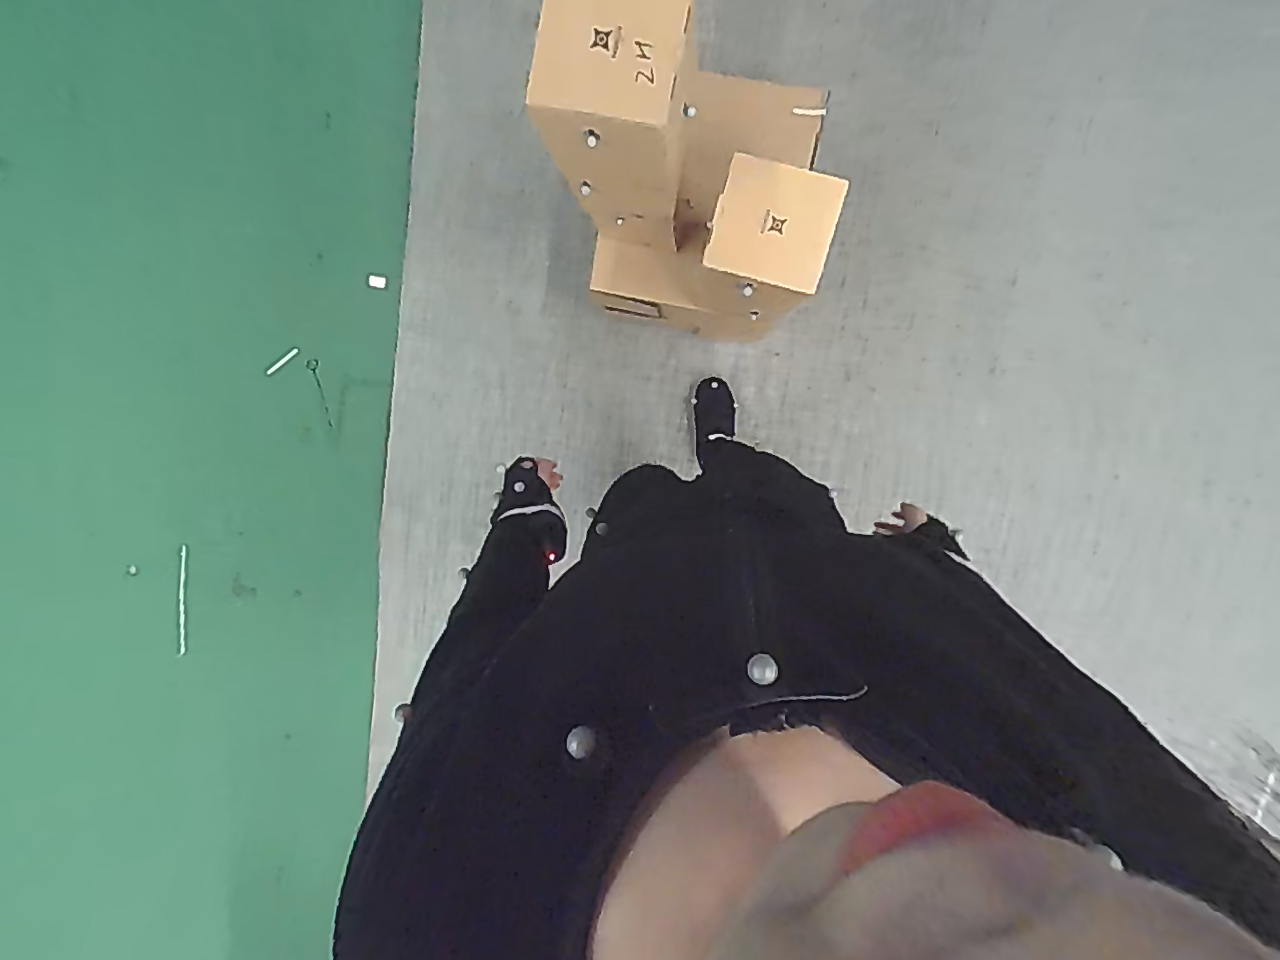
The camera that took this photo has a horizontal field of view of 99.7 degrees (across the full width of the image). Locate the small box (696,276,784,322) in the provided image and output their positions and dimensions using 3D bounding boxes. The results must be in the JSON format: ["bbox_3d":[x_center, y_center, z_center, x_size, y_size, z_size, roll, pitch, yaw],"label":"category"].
[{"bbox_3d":[0.209,-0.412,1.024,0.168,0.176,0.179,15,97,2],"label":"small box"}]

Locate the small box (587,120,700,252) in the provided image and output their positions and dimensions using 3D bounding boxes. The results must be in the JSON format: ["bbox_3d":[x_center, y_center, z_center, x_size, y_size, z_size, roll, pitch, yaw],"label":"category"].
[{"bbox_3d":[0.011,-0.563,1.027,0.168,0.176,0.179,15,97,5],"label":"small box"}]

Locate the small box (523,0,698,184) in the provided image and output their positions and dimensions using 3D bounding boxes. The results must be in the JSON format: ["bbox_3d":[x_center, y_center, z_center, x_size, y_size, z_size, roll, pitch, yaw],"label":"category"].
[{"bbox_3d":[-0.028,-0.513,0.703,0.179,0.176,0.168,13,98,5],"label":"small box"}]

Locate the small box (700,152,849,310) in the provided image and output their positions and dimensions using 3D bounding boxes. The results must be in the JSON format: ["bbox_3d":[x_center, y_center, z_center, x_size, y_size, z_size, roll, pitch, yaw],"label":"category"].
[{"bbox_3d":[0.202,-0.382,0.864,0.179,0.176,0.168,16,98,3],"label":"small box"}]
